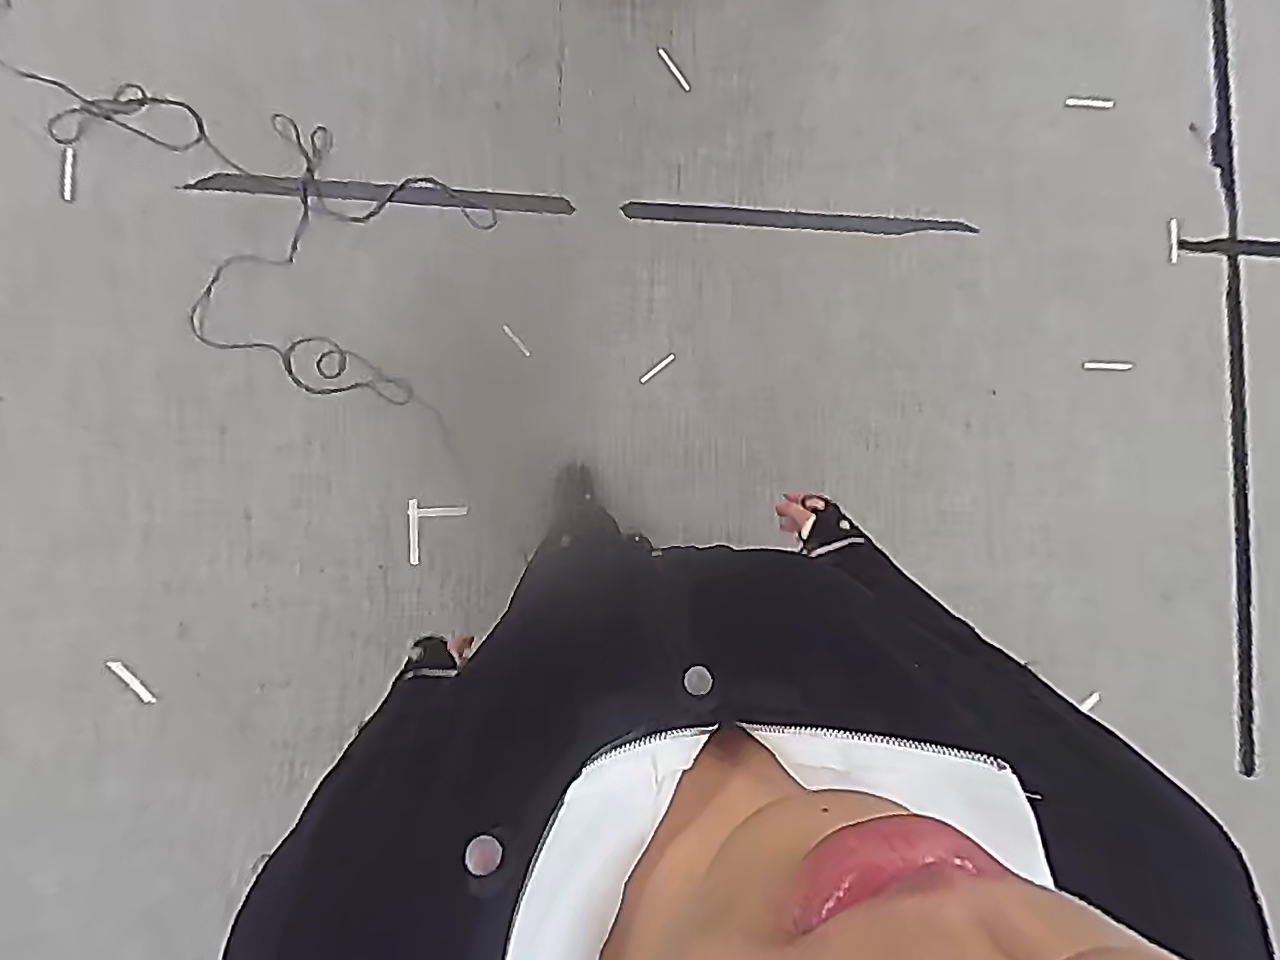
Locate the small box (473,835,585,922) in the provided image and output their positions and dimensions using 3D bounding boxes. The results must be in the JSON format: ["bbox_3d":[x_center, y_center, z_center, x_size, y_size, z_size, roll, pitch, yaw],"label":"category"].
[{"bbox_3d":[-0.177,0.725,0.893,0.168,0.176,0.179,1,85,-4],"label":"small box"}]

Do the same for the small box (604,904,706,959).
[{"bbox_3d":[0.026,0.859,0.901,0.168,0.176,0.179,1,86,-6],"label":"small box"}]
